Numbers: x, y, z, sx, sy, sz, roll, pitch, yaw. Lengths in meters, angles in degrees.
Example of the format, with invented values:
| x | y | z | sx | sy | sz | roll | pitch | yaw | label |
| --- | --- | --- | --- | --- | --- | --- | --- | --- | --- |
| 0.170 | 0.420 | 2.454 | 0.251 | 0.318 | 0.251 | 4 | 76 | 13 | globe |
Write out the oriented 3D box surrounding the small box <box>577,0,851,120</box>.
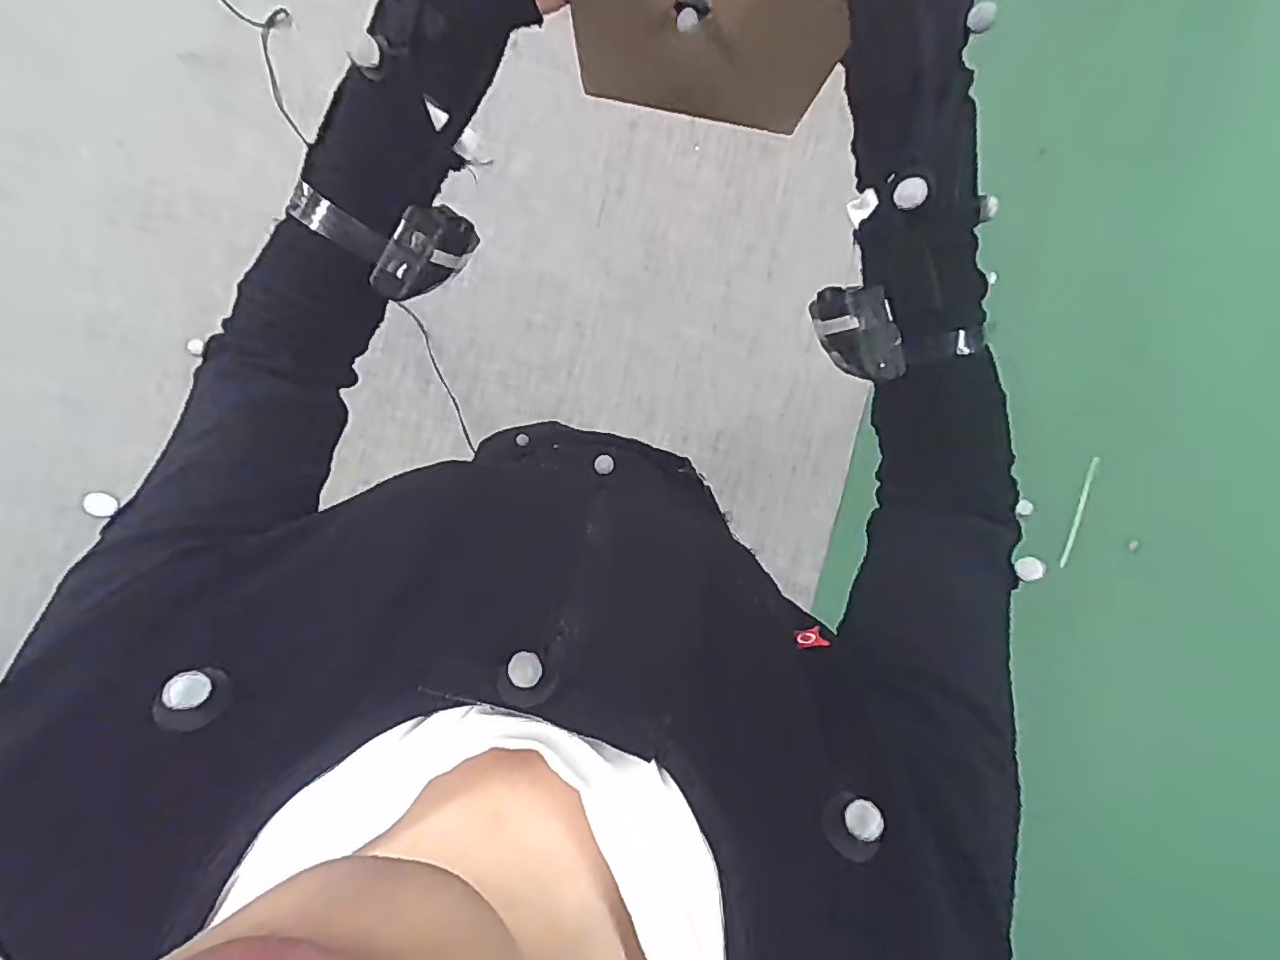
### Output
| x | y | z | sx | sy | sz | roll | pitch | yaw | label |
| --- | --- | --- | --- | --- | --- | --- | --- | --- | --- |
| 0.054 | -0.368 | 0.348 | 0.179 | 0.176 | 0.168 | 10 | 99 | -2 | small box |
